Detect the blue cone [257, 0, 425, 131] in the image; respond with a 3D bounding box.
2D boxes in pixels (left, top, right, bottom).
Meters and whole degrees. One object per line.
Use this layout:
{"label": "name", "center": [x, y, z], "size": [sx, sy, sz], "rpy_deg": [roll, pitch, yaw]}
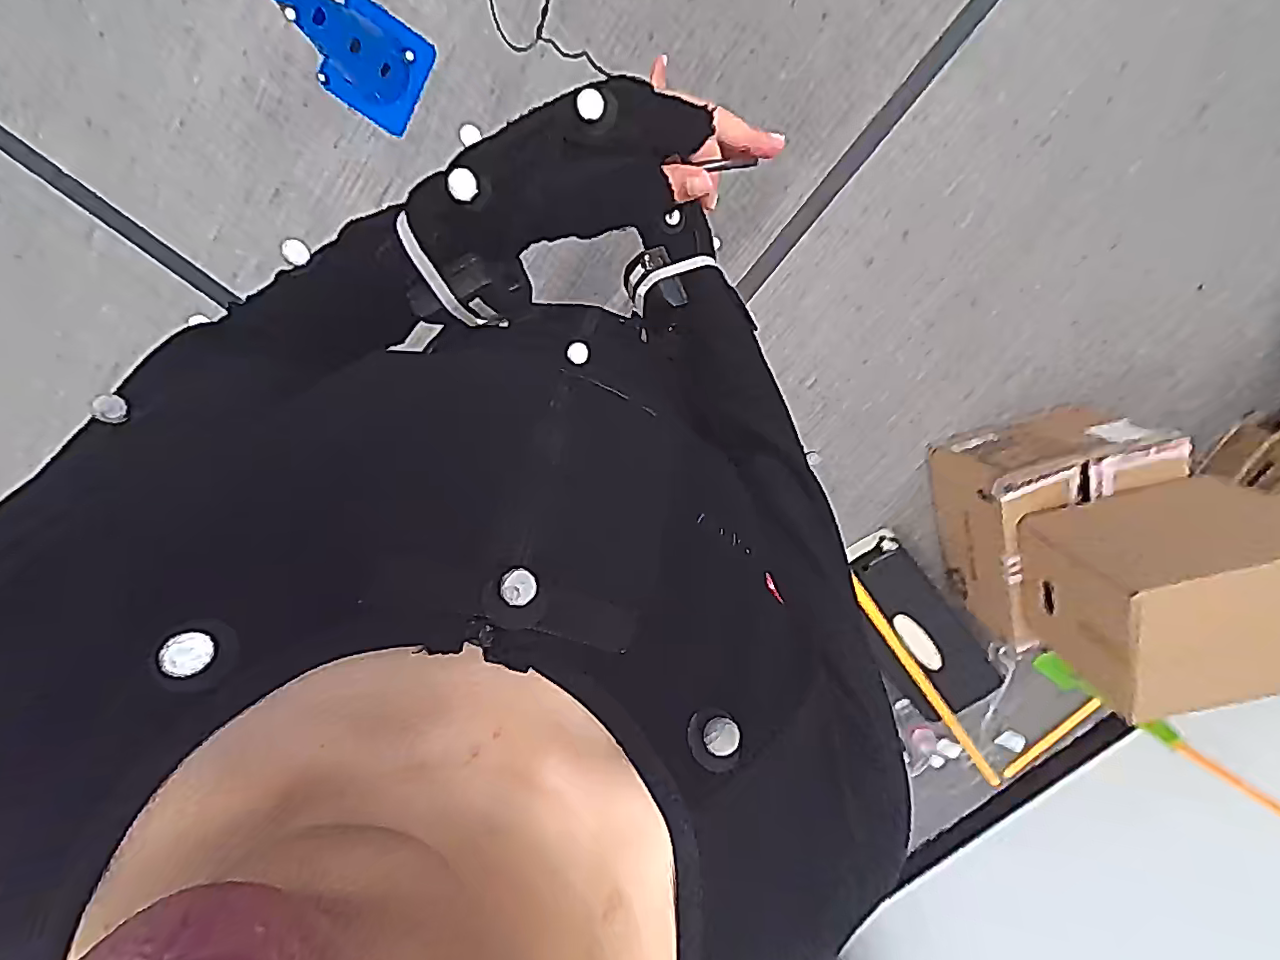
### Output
{"label": "blue cone", "center": [-0.566, -0.815, 0.995], "size": [0.193, 0.380, 0.192], "rpy_deg": [32, 108, -13]}
